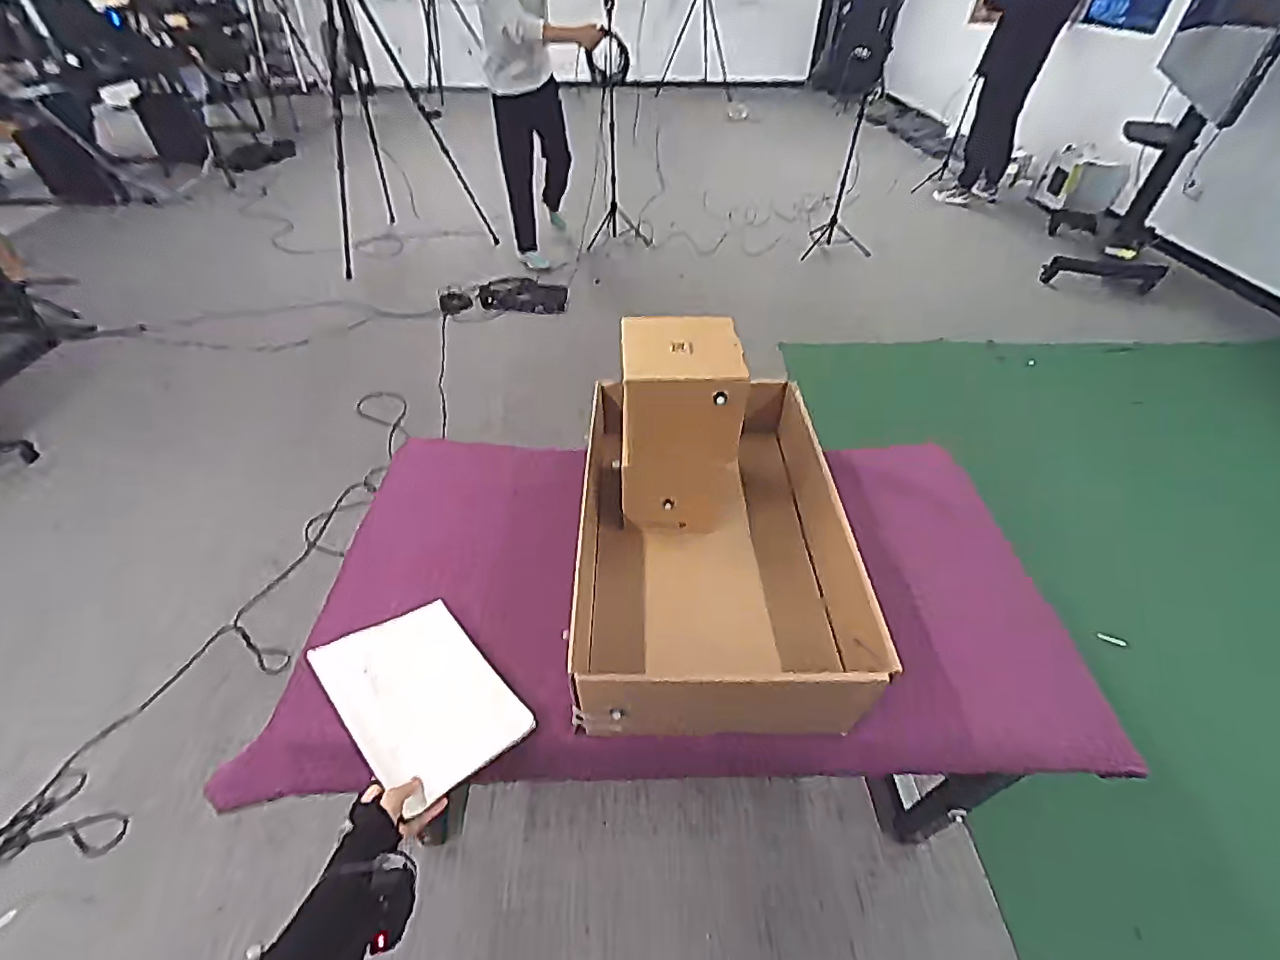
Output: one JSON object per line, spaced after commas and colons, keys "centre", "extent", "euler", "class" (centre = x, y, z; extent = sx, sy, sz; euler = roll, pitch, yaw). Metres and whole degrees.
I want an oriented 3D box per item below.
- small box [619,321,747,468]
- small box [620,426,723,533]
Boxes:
{"centre": [0.058, -0.132, 0.846], "extent": [0.179, 0.176, 0.168], "euler": [-2, 46, -2], "class": "small box"}
{"centre": [0.052, -0.020, 0.963], "extent": [0.168, 0.176, 0.179], "euler": [0, 46, 0], "class": "small box"}
